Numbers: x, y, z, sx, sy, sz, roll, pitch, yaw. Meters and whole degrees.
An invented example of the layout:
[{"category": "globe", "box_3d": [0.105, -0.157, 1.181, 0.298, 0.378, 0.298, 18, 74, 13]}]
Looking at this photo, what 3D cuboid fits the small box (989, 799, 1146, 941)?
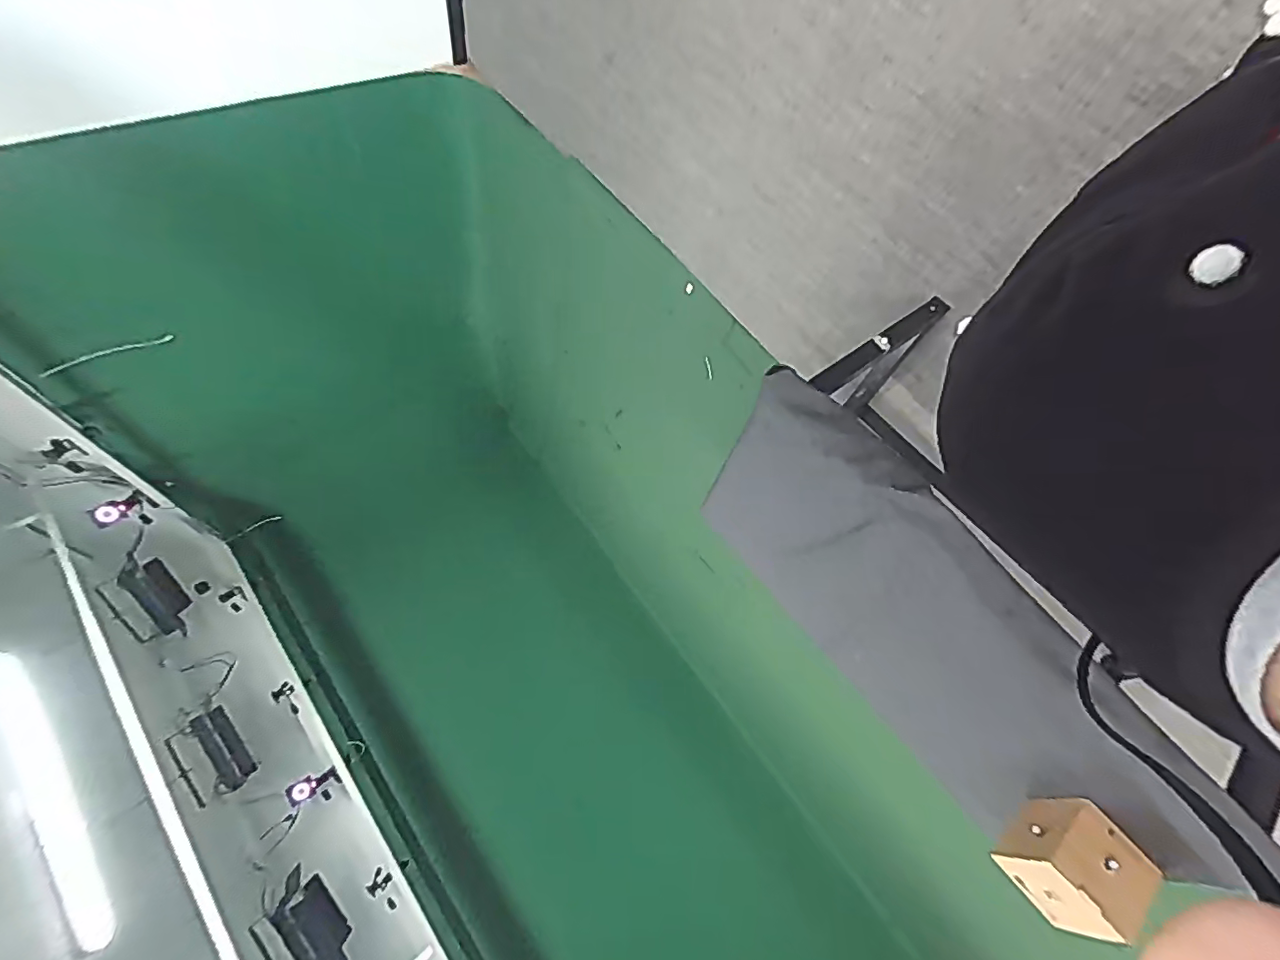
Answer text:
[{"category": "small box", "box_3d": [0.882, 0.789, 1.114, 0.168, 0.176, 0.179, 48, 152, 19]}]
